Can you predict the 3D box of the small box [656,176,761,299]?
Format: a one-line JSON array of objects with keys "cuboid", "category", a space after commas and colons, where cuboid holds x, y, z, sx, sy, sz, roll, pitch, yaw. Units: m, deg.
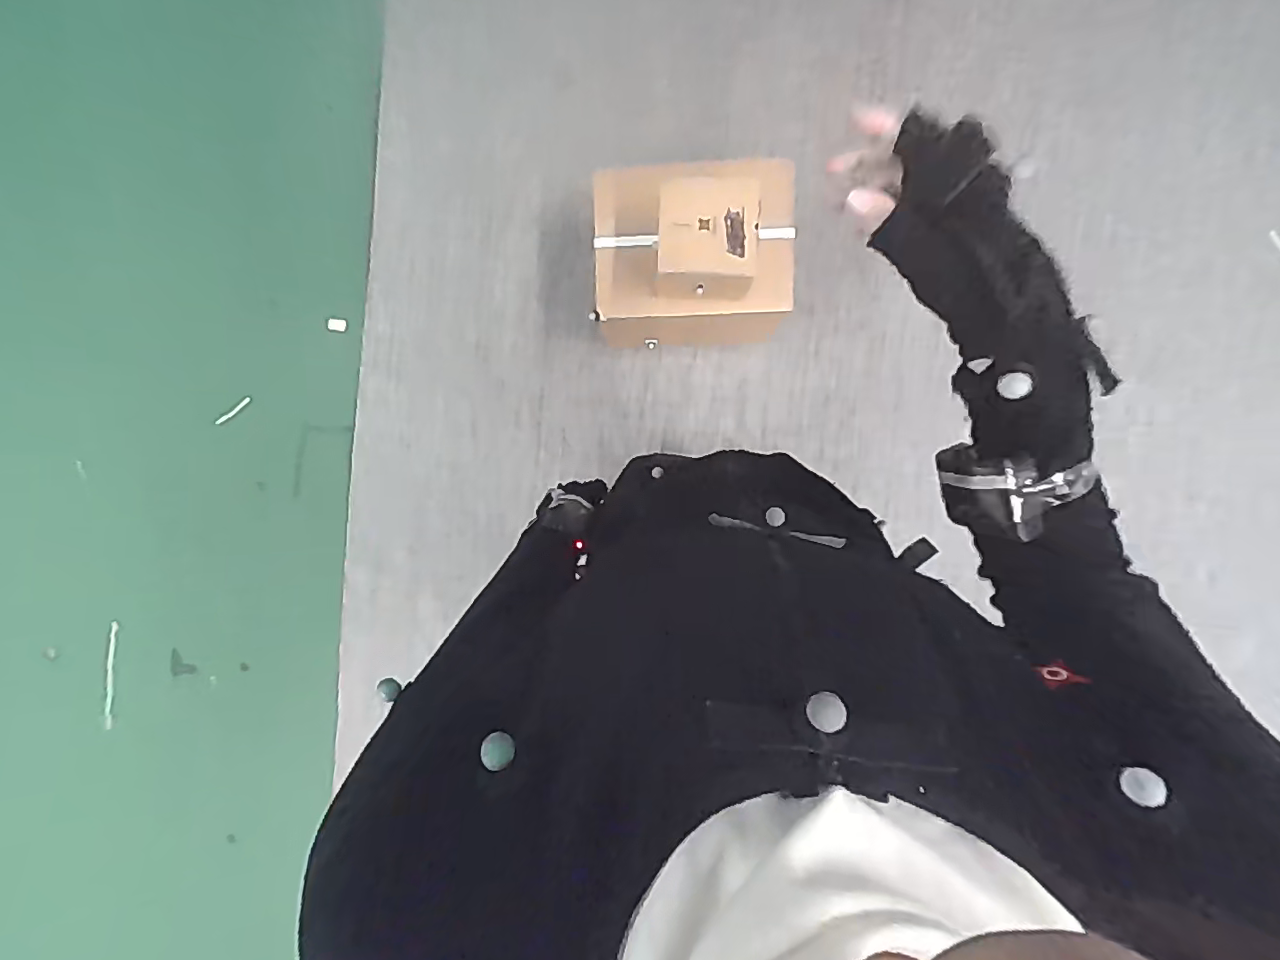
[{"cuboid": [0.124, -0.451, 1.026, 0.179, 0.176, 0.168, 3, 93, 4], "category": "small box"}]
